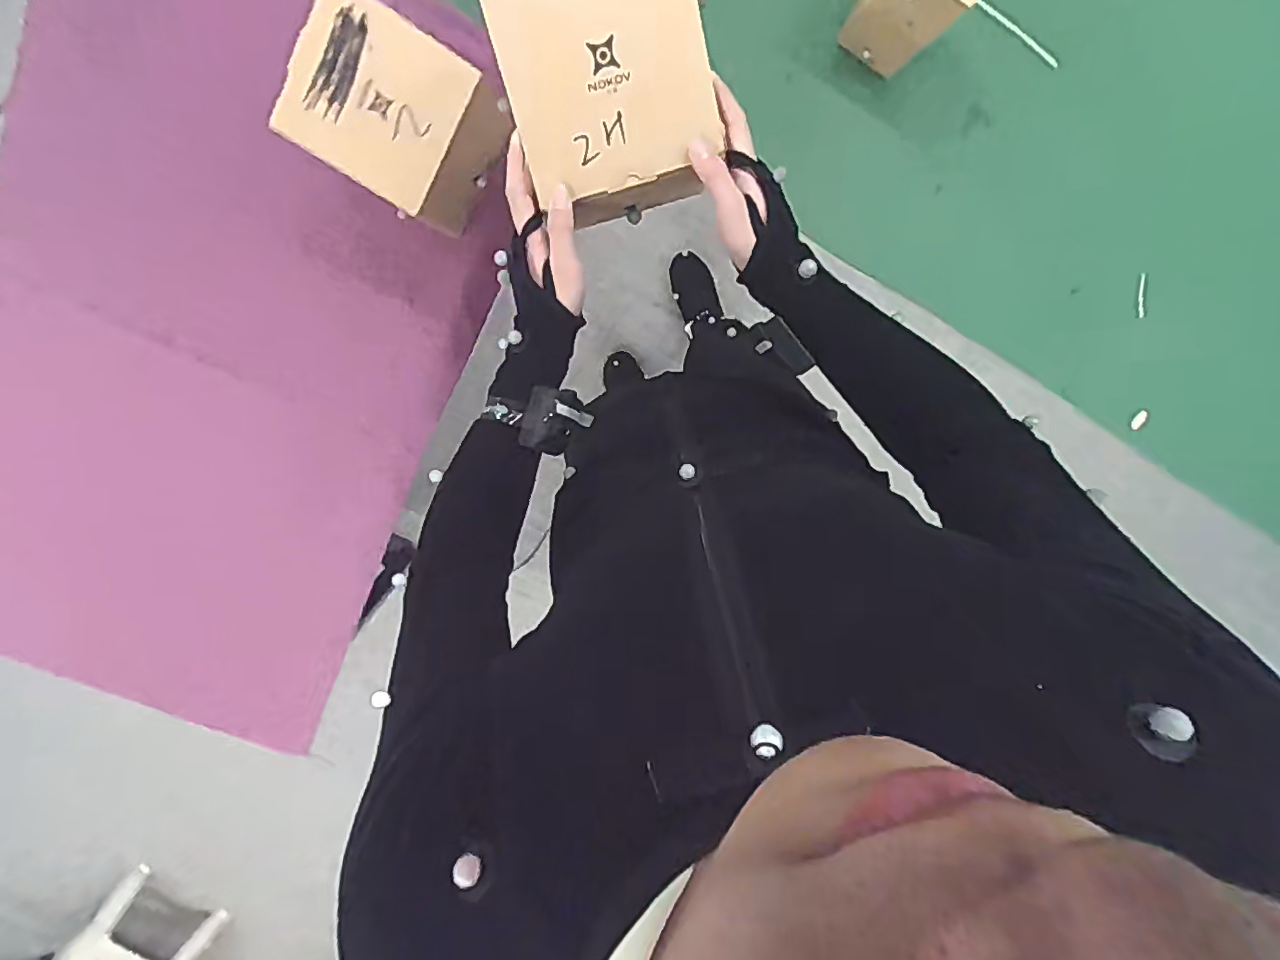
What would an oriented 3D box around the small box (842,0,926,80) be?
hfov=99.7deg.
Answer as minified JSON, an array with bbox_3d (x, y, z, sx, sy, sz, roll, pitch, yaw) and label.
[{"bbox_3d":[0.604,-1.092,1.260,0.168,0.176,0.179,27,104,-9],"label":"small box"}]

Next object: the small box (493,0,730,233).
[{"bbox_3d":[-0.022,-0.353,0.513,0.168,0.176,0.179,-13,109,4],"label":"small box"}]

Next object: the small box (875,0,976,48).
[{"bbox_3d":[0.614,-1.047,1.106,0.168,0.176,0.179,27,102,-9],"label":"small box"}]
